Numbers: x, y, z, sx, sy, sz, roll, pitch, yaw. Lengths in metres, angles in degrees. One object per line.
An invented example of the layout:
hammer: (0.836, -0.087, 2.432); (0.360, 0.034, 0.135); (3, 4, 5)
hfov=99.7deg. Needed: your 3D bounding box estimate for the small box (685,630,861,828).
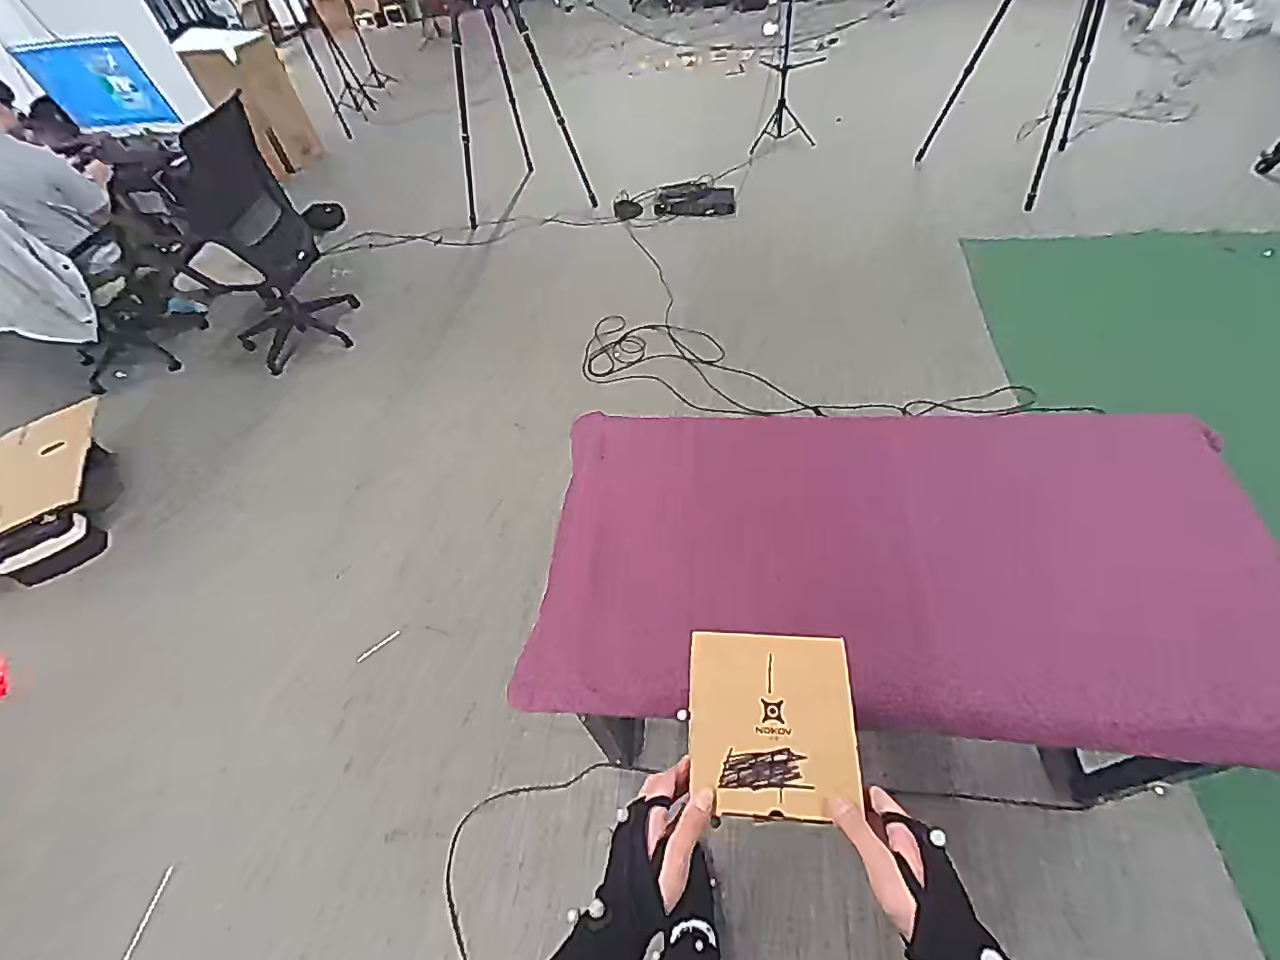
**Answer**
small box: (0.138, 0.284, 0.619); (0.168, 0.176, 0.179); (2, 59, 6)
